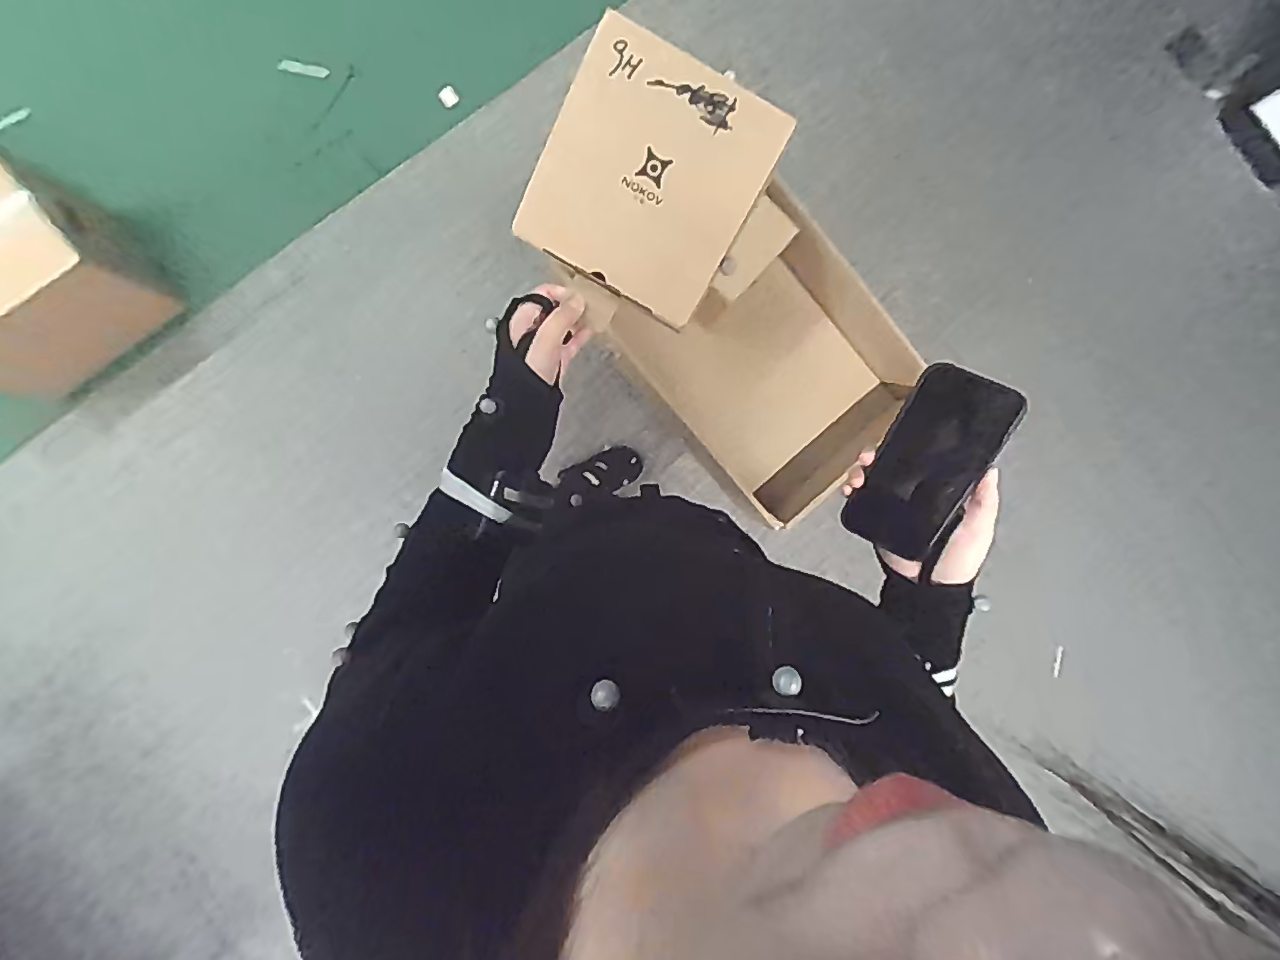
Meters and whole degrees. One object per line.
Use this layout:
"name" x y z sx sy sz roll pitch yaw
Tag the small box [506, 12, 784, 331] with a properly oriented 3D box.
"small box" 0.008 -0.254 0.498 0.168 0.176 0.179 29 106 -2
